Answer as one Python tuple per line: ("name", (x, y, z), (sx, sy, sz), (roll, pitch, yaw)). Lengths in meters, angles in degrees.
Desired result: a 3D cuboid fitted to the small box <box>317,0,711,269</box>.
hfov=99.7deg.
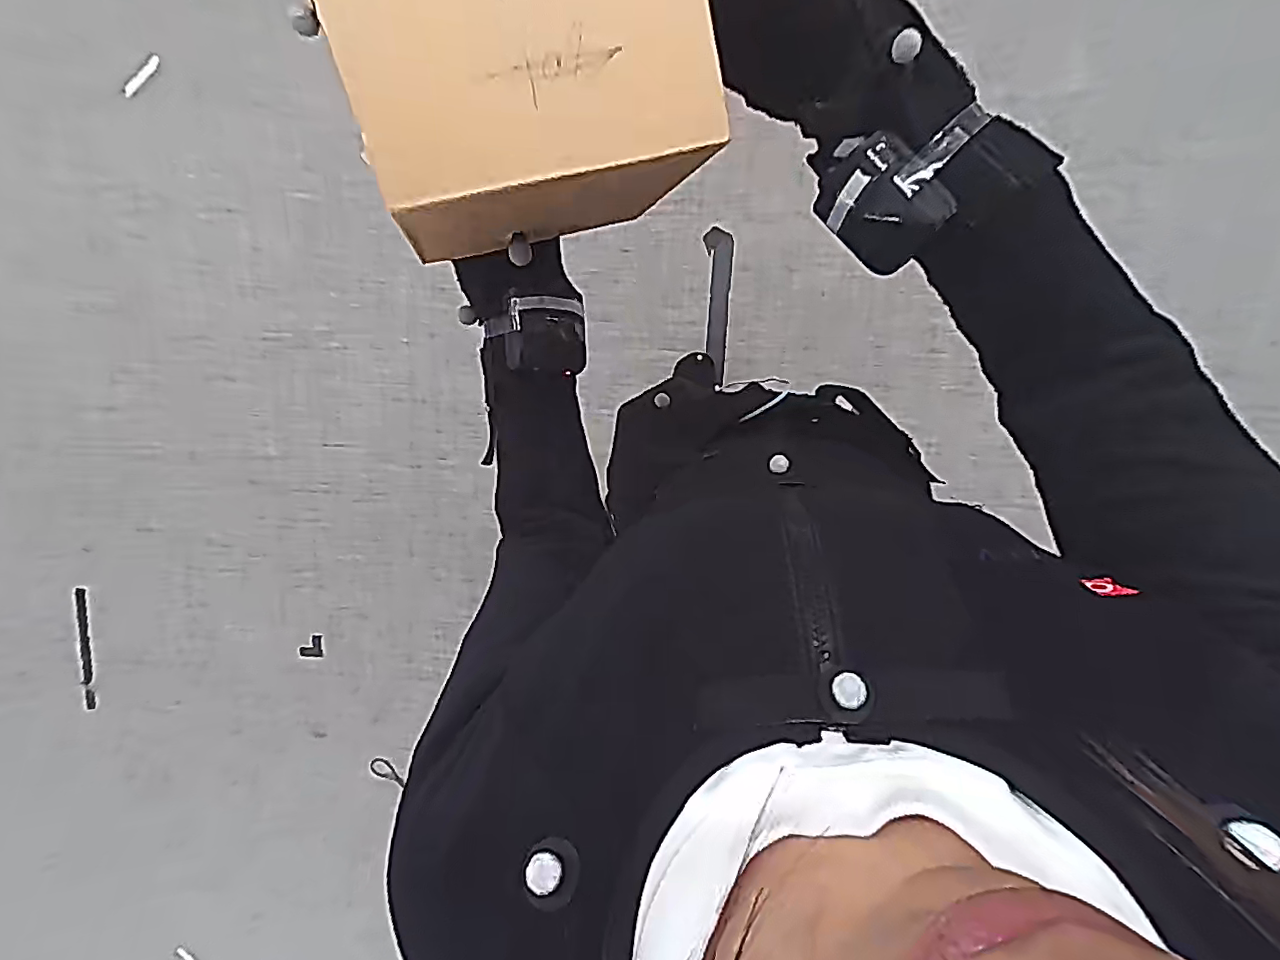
("small box", (-0.081, -0.239, 0.314), (0.168, 0.176, 0.179), (-18, 107, -11))
